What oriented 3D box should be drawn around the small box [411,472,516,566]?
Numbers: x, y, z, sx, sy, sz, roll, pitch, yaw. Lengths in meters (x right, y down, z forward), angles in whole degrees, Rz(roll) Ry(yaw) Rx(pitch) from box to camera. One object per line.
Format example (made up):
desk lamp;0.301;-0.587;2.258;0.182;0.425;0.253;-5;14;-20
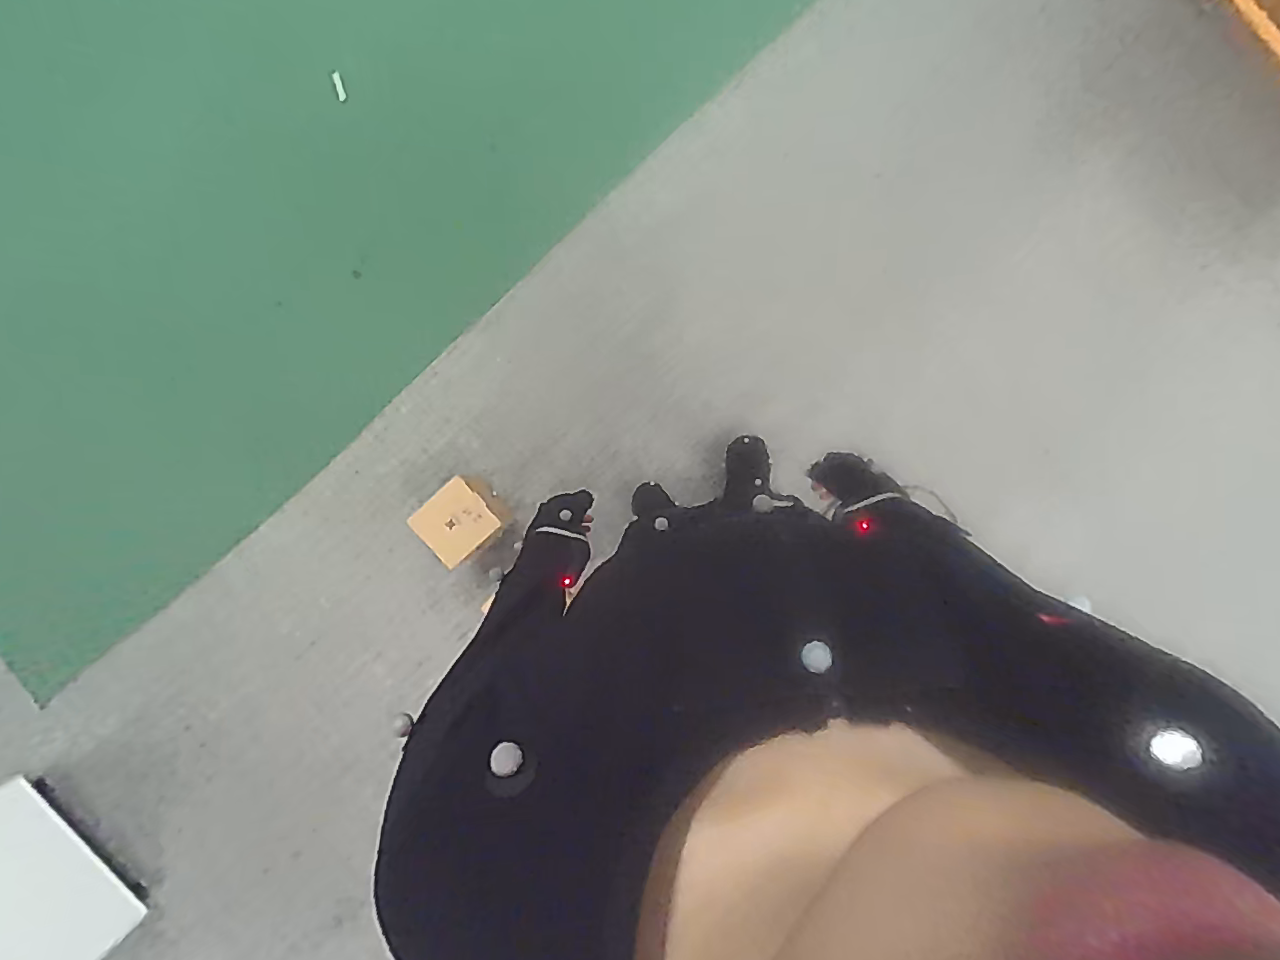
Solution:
small box;-0.449;0.095;1.410;0.179;0.176;0.168;-42;92;1
